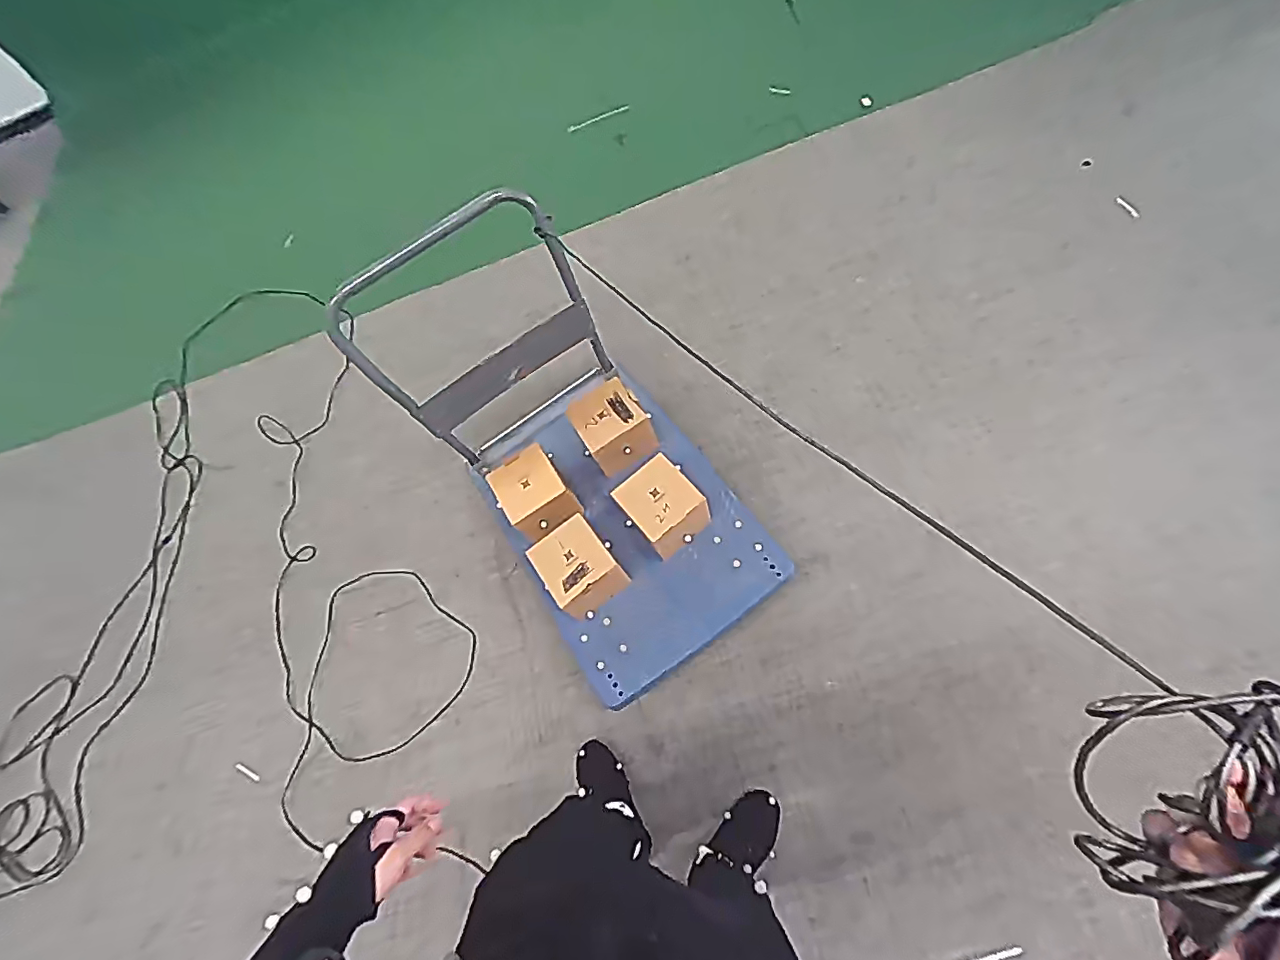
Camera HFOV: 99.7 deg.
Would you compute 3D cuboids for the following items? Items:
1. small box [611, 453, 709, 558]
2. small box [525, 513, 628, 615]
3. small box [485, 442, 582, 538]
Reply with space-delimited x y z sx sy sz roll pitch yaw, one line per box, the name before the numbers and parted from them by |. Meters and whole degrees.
small box | 0.056 0.070 1.366 0.168 0.176 0.179 -39 64 -6
small box | -0.150 0.217 1.344 0.168 0.176 0.179 -36 63 -6
small box | -0.280 0.037 1.458 0.168 0.176 0.179 -34 63 -4
